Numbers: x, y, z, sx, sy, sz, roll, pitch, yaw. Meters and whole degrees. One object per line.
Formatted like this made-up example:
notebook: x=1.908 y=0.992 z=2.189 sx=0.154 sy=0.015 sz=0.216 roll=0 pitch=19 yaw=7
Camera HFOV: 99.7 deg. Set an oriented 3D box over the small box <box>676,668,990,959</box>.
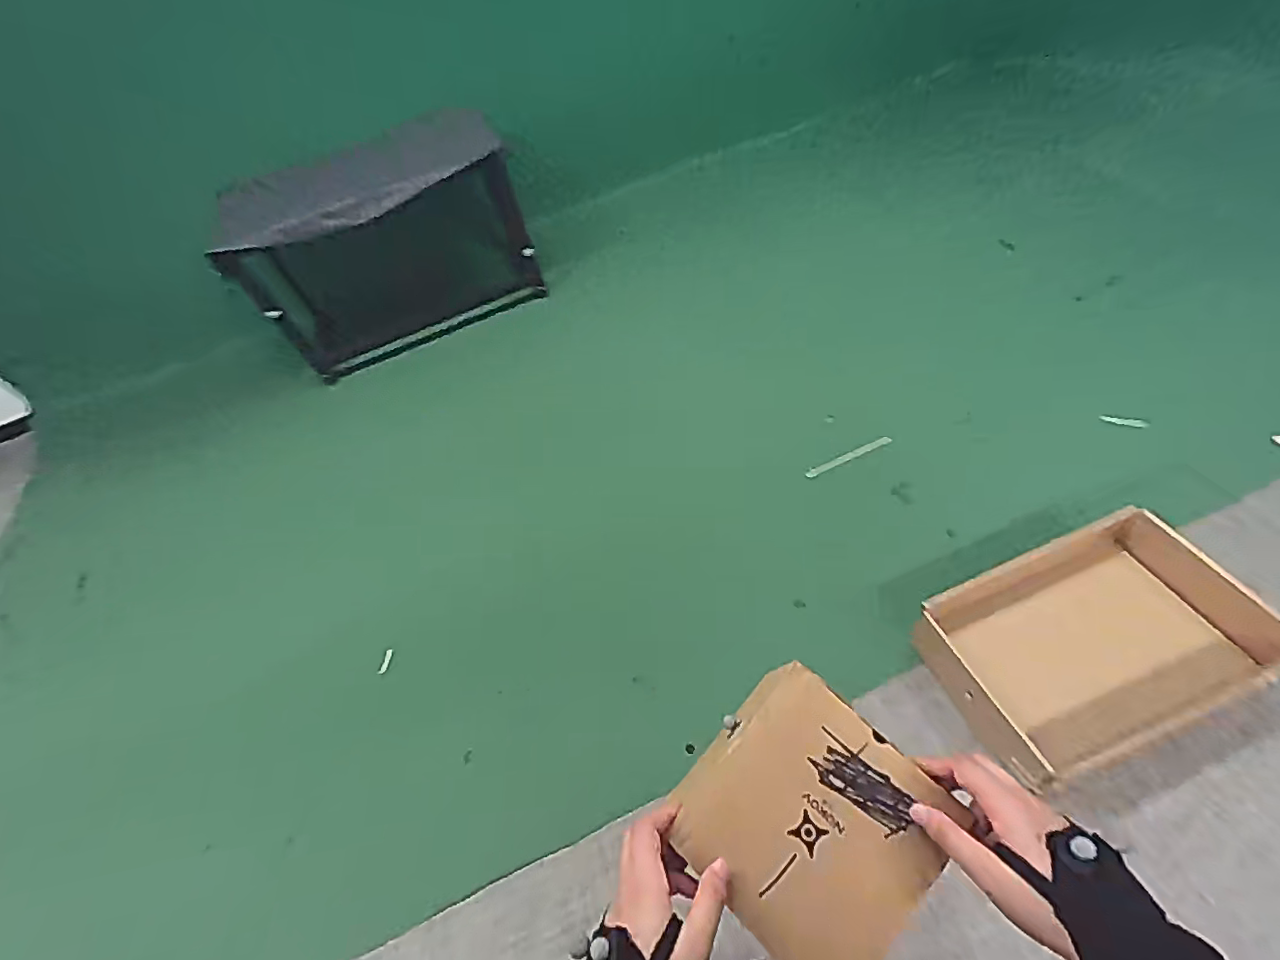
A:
small box: x=0.145 y=0.290 z=0.471 sx=0.168 sy=0.176 sz=0.179 roll=41 pitch=76 yaw=19
